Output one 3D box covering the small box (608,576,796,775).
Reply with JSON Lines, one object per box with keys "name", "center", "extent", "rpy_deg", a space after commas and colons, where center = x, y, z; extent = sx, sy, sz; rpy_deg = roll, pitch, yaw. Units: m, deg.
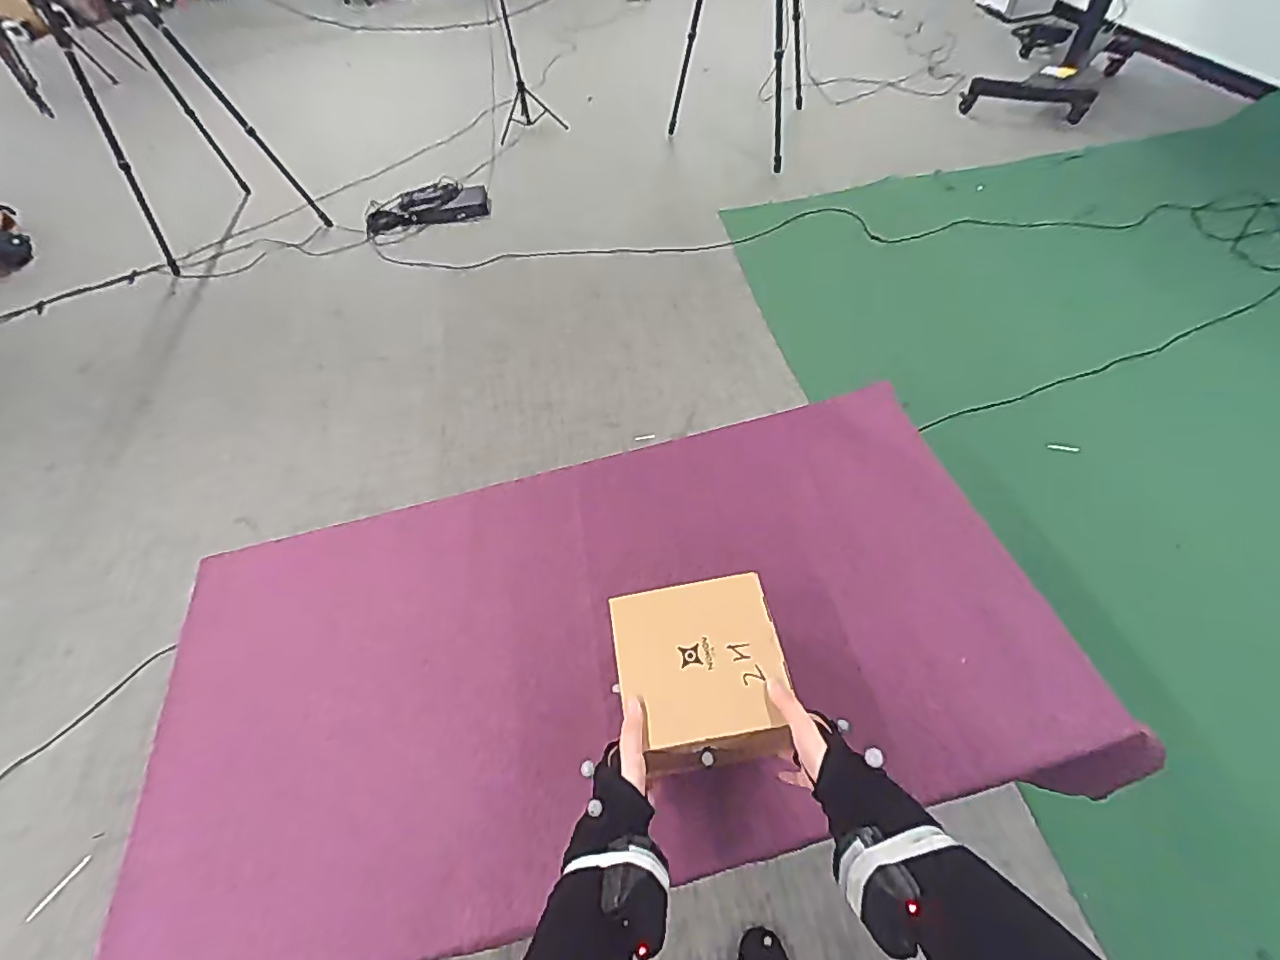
{"name": "small box", "center": [0.068, 0.236, 0.639], "extent": [0.179, 0.176, 0.168], "rpy_deg": [-10, 54, 0]}
